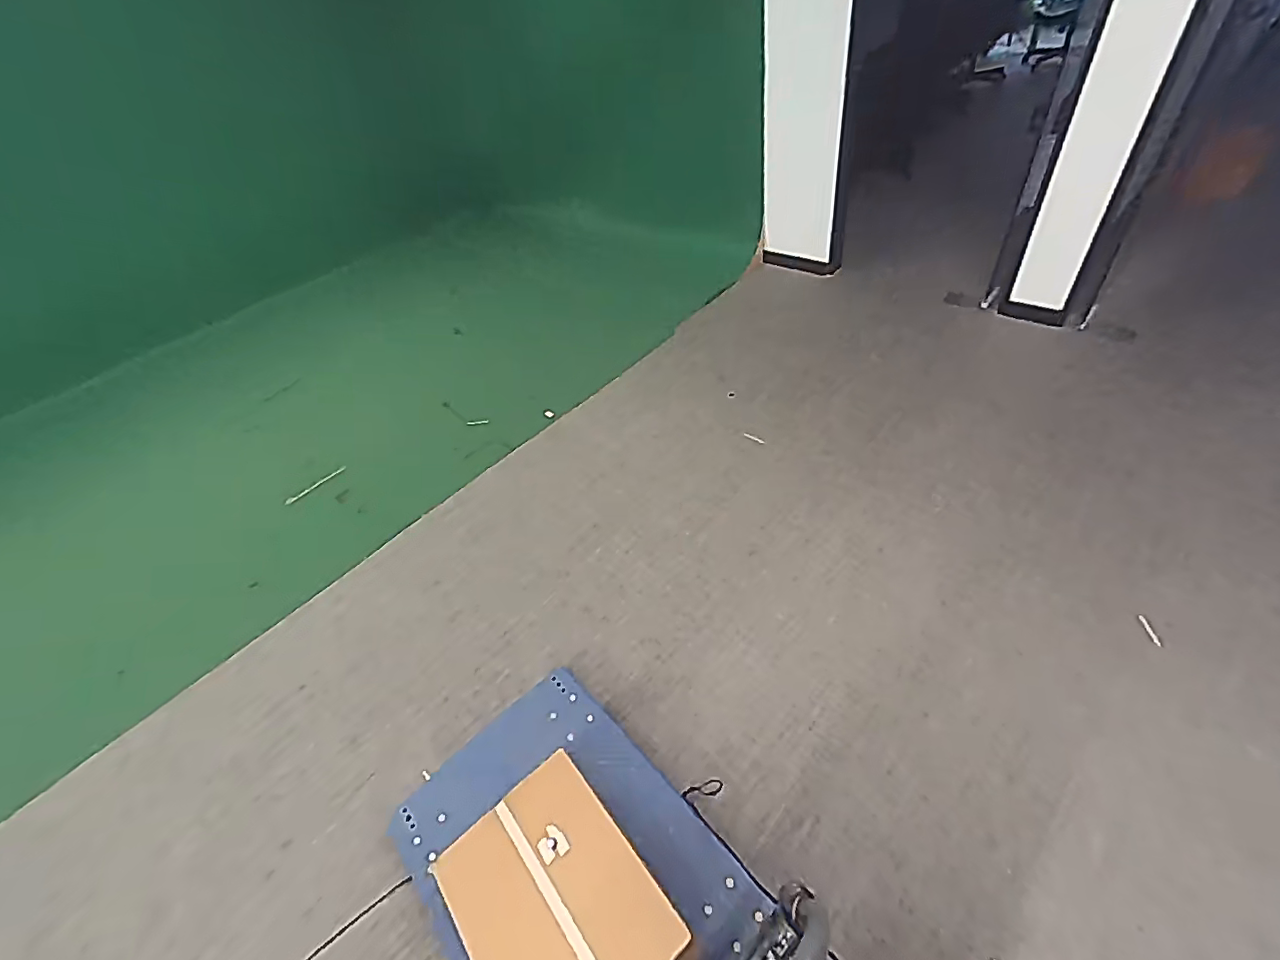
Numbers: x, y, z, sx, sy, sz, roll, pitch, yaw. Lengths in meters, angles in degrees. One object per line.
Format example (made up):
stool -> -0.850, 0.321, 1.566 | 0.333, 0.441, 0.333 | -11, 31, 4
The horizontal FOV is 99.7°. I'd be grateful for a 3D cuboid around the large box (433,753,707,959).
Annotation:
large box -> -0.124, 0.841, 1.052 | 0.320, 0.320, 0.408 | -35, 49, -21
